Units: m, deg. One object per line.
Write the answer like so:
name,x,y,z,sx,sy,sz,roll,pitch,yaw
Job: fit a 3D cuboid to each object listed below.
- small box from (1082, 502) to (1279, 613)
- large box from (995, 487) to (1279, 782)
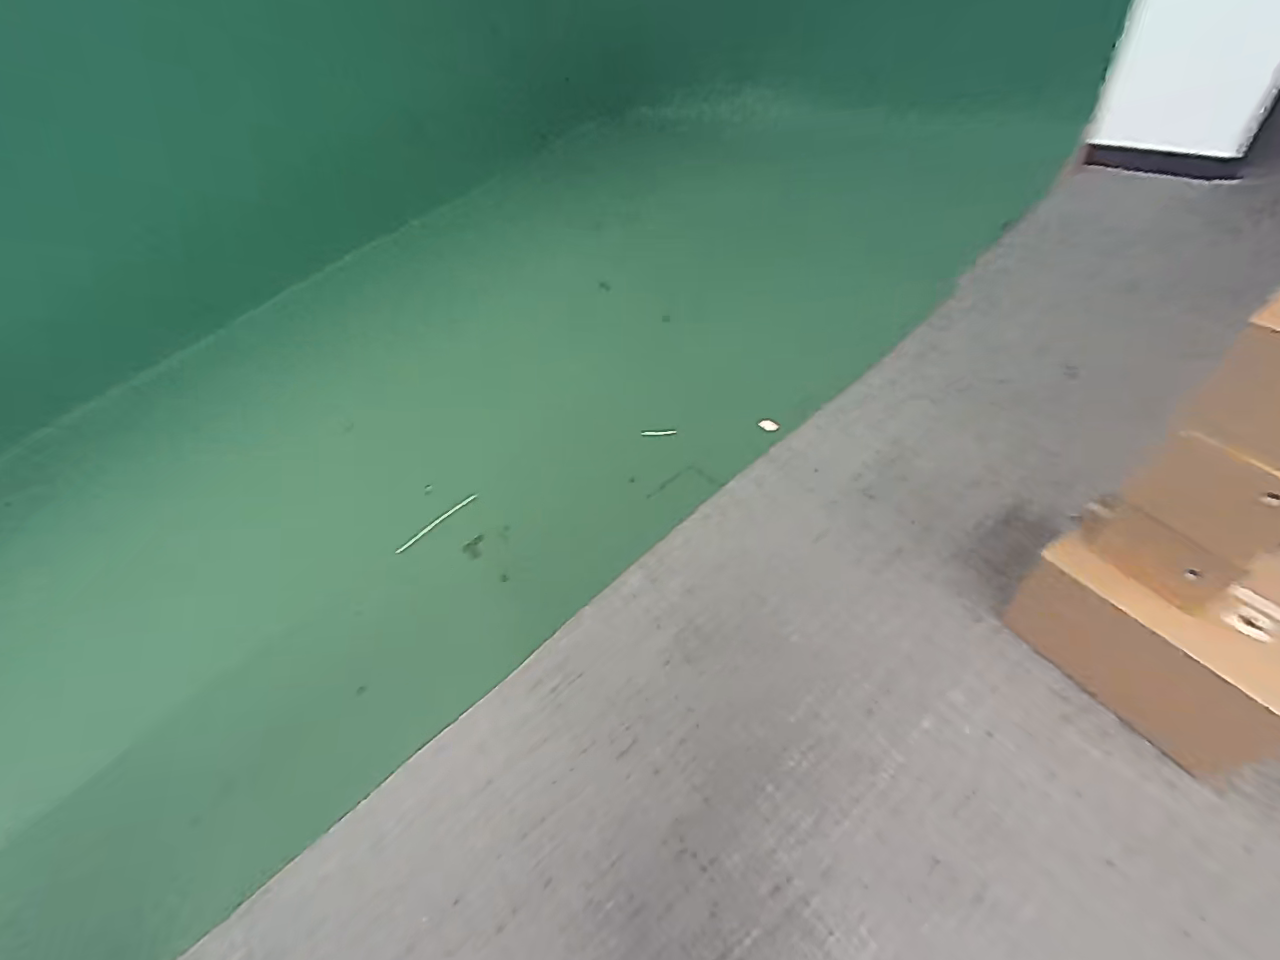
small box,0.896,0.095,0.894,0.168,0.176,0.179,-33,49,-12
large box,1.001,0.277,1.034,0.320,0.320,0.408,-35,51,-11
